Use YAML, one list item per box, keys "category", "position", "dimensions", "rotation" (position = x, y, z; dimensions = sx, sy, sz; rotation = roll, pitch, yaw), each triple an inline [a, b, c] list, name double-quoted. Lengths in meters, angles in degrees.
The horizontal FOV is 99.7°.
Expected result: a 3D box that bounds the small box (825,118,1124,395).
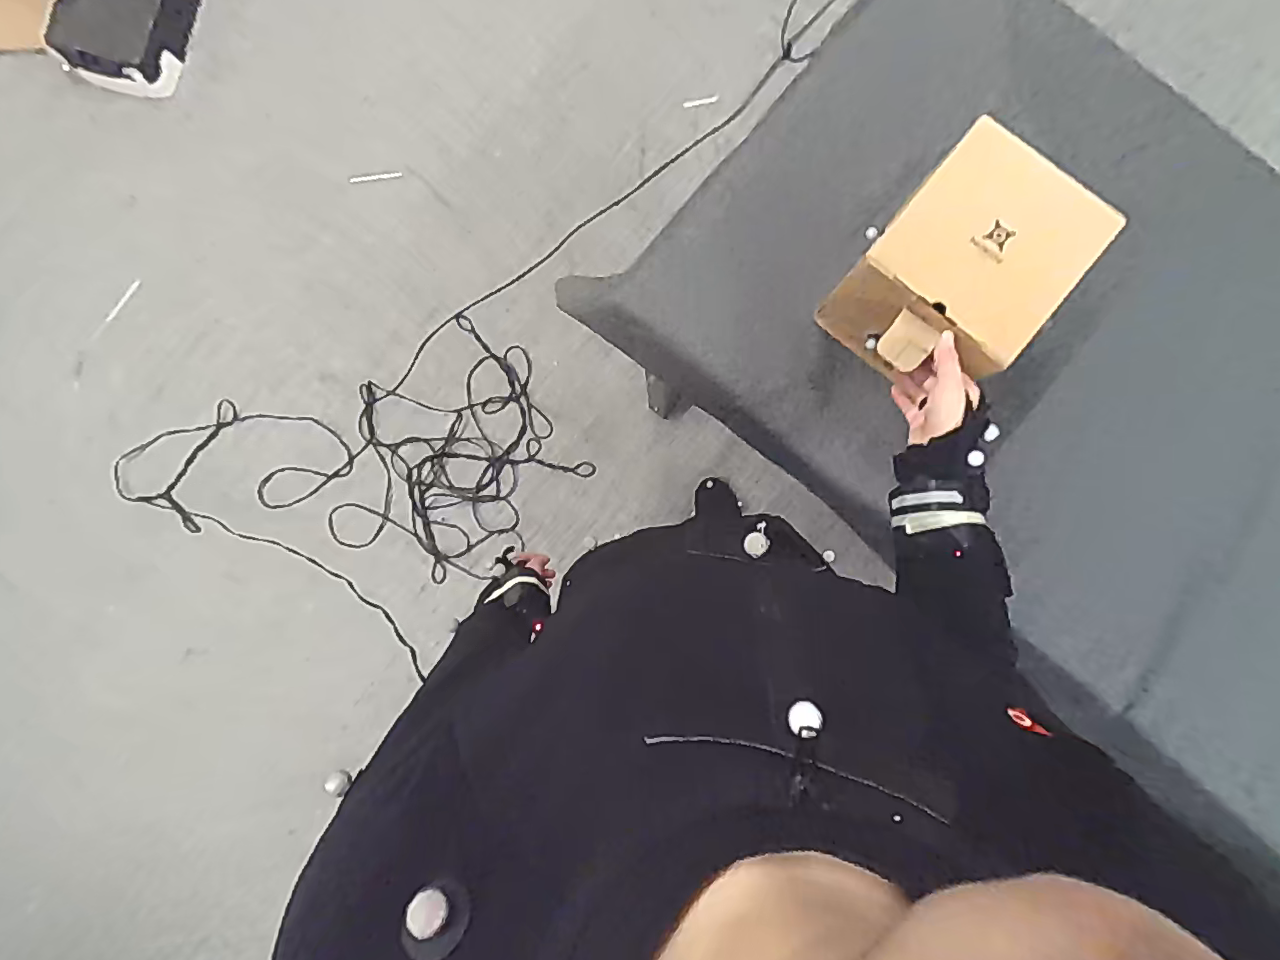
- category: "small box"
  position: [0.328, -0.216, 0.574]
  dimensions: [0.168, 0.176, 0.179]
  rotation: [39, 89, 2]
